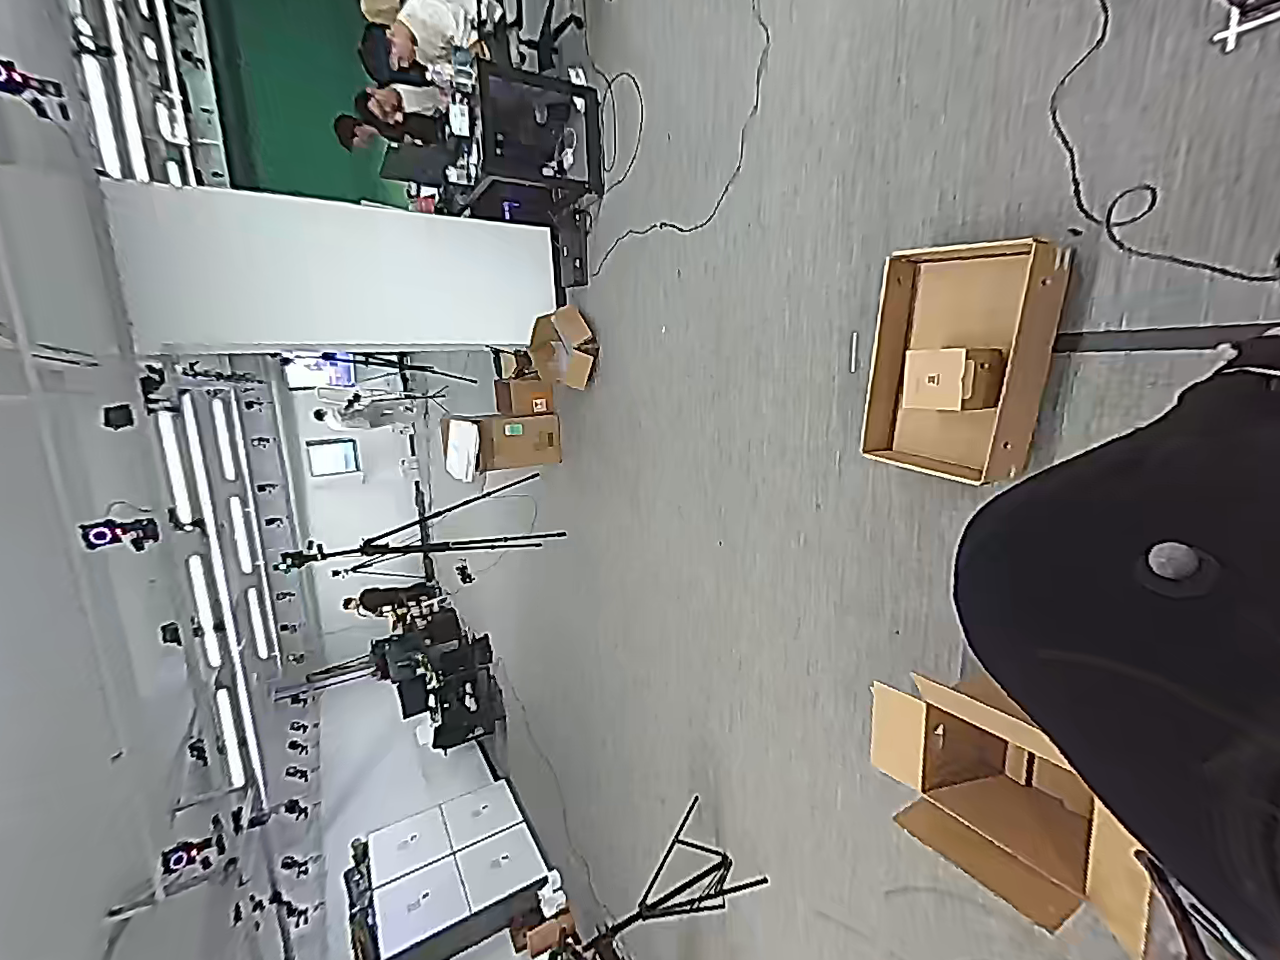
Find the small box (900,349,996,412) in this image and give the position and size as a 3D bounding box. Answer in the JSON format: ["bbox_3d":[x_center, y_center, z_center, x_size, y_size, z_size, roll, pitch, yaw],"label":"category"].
[{"bbox_3d":[0.869,-0.285,1.526,0.179,0.176,0.168,18,111,57],"label":"small box"}]
